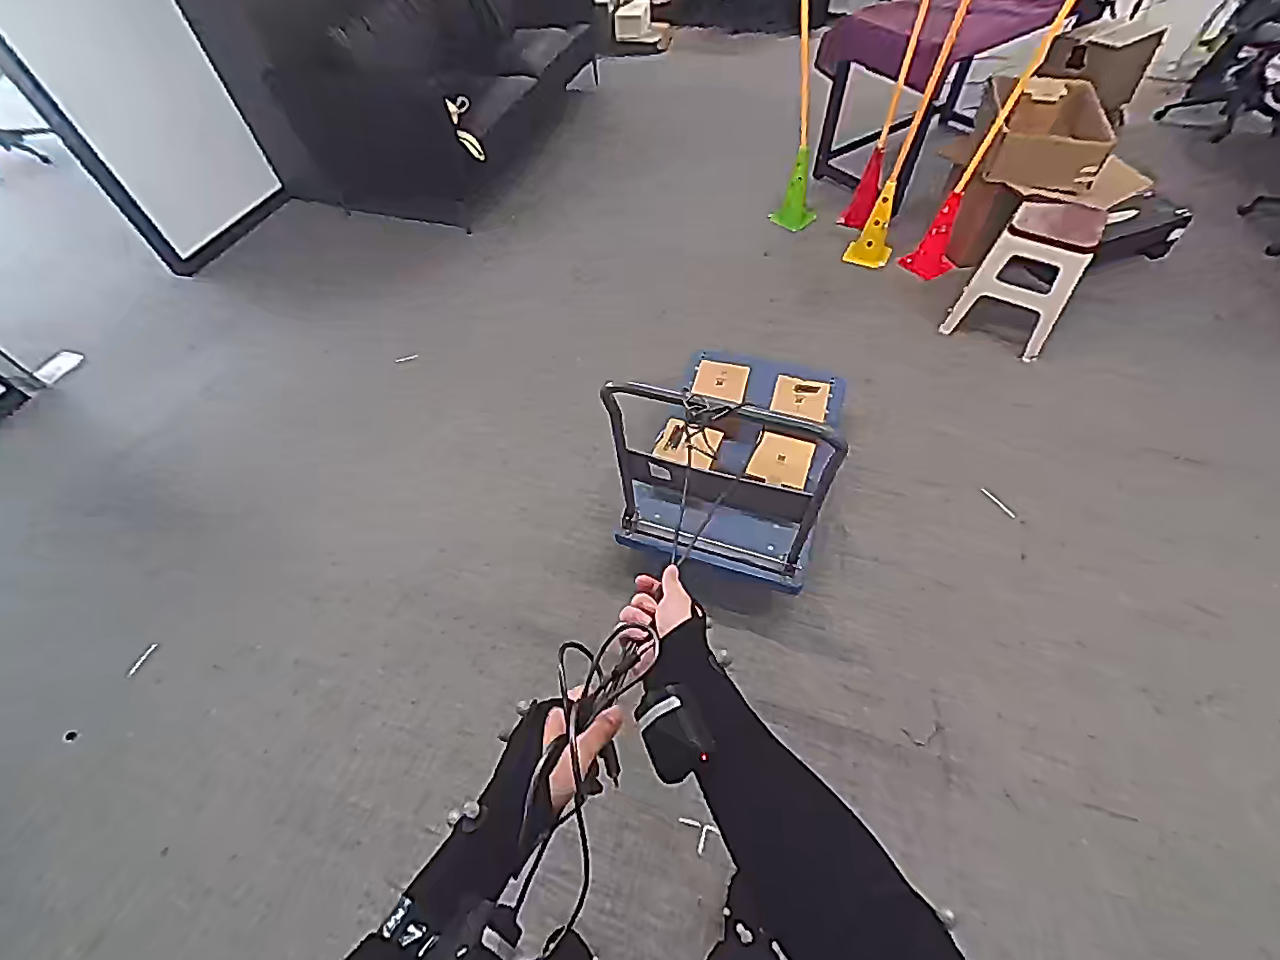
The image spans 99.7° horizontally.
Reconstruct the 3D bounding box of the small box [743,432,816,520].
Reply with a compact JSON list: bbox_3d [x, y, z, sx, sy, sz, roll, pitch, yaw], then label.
[{"bbox_3d":[0.413,-0.011,1.618,0.168,0.176,0.179,16,59,16],"label":"small box"}]

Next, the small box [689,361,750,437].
[{"bbox_3d":[0.266,-0.267,1.807,0.168,0.176,0.179,12,57,12],"label":"small box"}]

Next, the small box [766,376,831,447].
[{"bbox_3d":[0.505,-0.204,1.743,0.168,0.176,0.179,13,58,14],"label":"small box"}]
